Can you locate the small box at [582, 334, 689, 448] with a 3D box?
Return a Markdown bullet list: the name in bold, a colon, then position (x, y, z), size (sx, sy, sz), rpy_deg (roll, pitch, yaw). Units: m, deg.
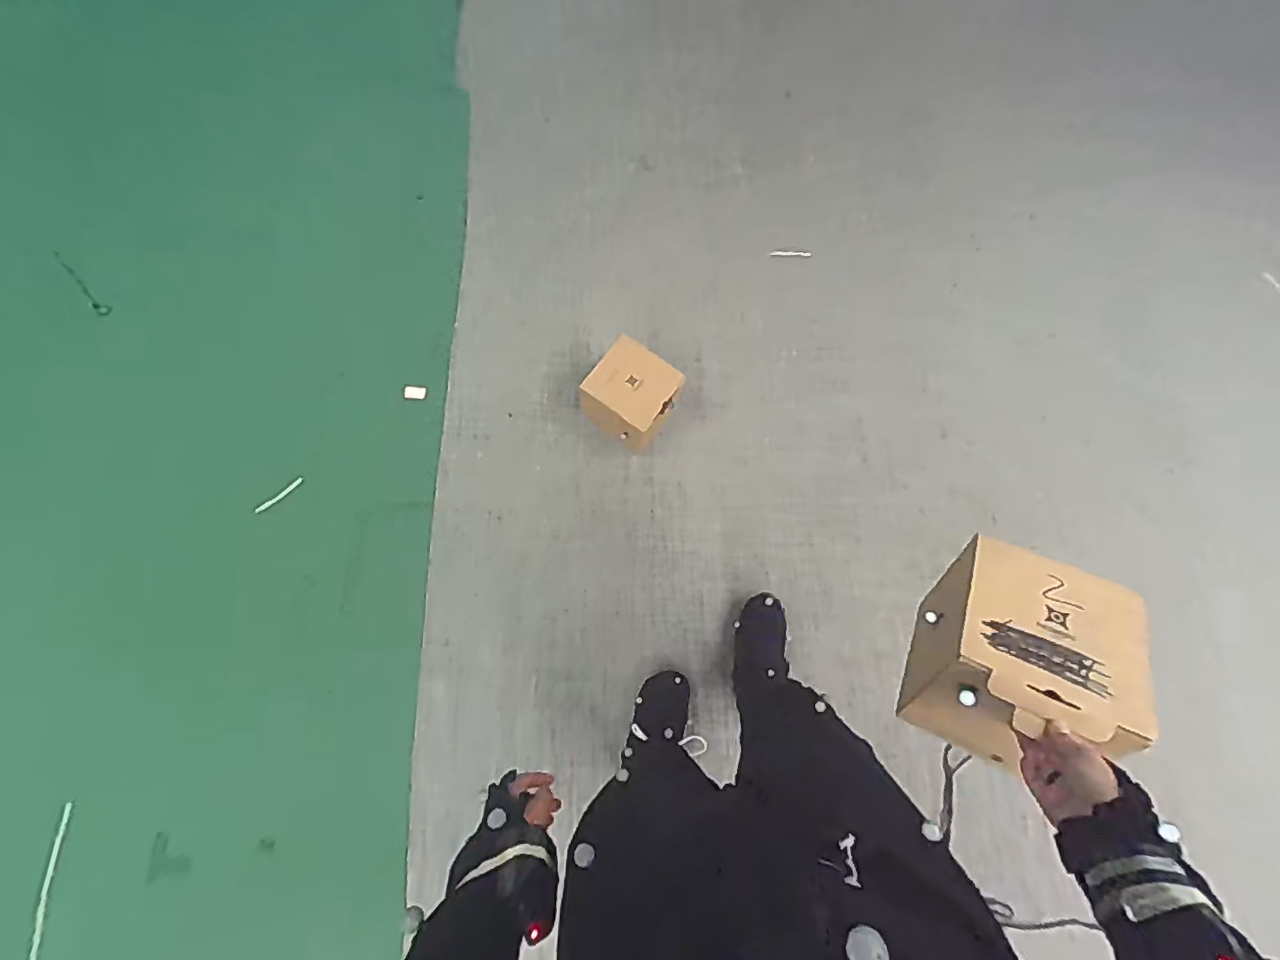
- **small box**: position (-0.013, -0.193, 1.238), size (0.179, 0.176, 0.168), rpy_deg (35, 76, 6)
